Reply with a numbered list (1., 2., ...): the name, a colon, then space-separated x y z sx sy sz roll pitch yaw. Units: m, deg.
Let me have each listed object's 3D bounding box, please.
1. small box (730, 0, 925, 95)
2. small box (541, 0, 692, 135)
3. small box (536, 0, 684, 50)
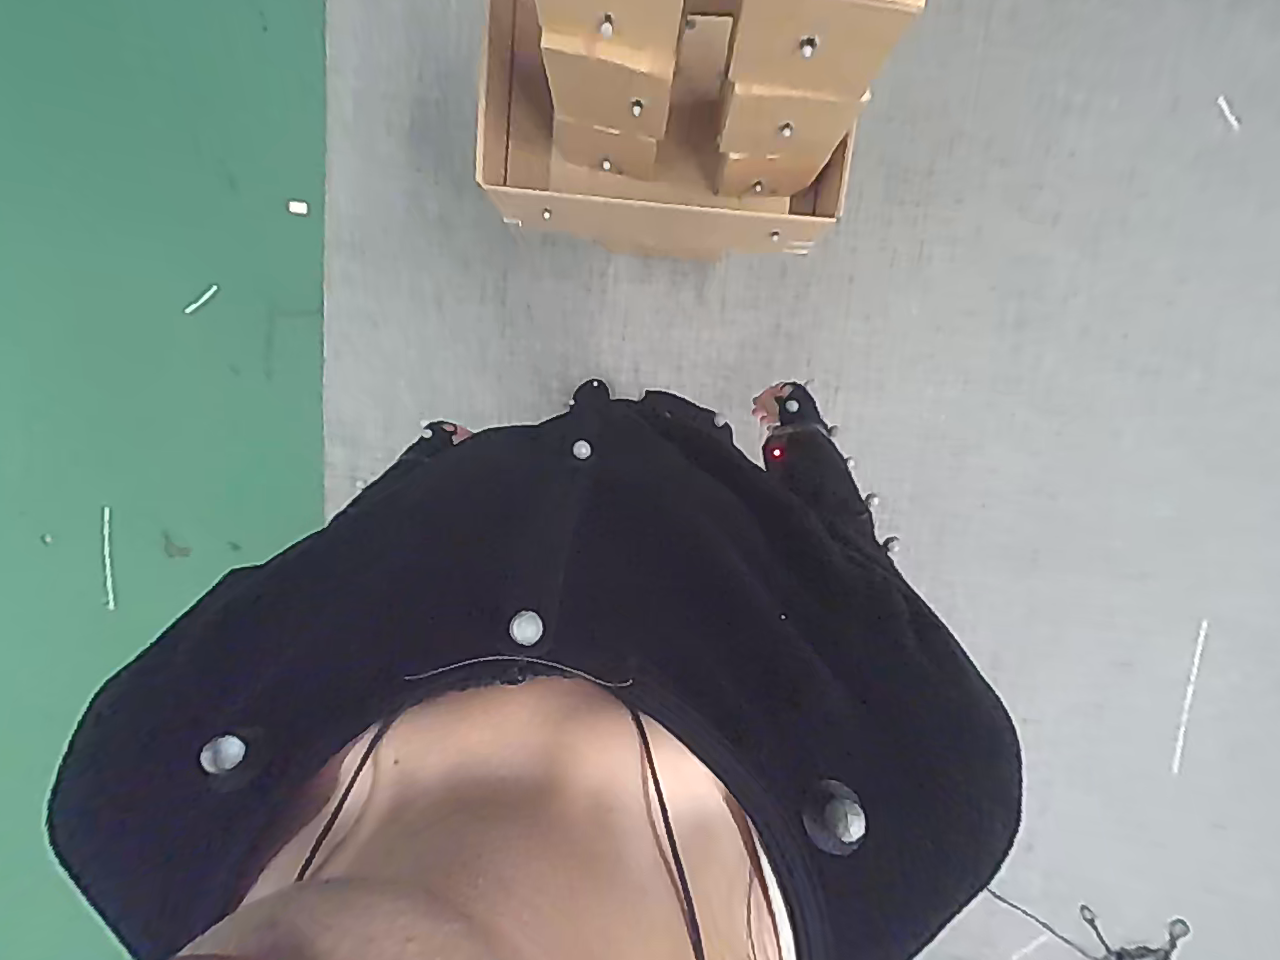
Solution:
1. small box: 0.208 -0.564 0.597 0.179 0.176 0.168 9 98 1
2. small box: -0.027 -0.623 0.762 0.179 0.176 0.168 12 96 -3
3. small box: -0.024 -0.625 0.598 0.179 0.176 0.168 8 96 -4
